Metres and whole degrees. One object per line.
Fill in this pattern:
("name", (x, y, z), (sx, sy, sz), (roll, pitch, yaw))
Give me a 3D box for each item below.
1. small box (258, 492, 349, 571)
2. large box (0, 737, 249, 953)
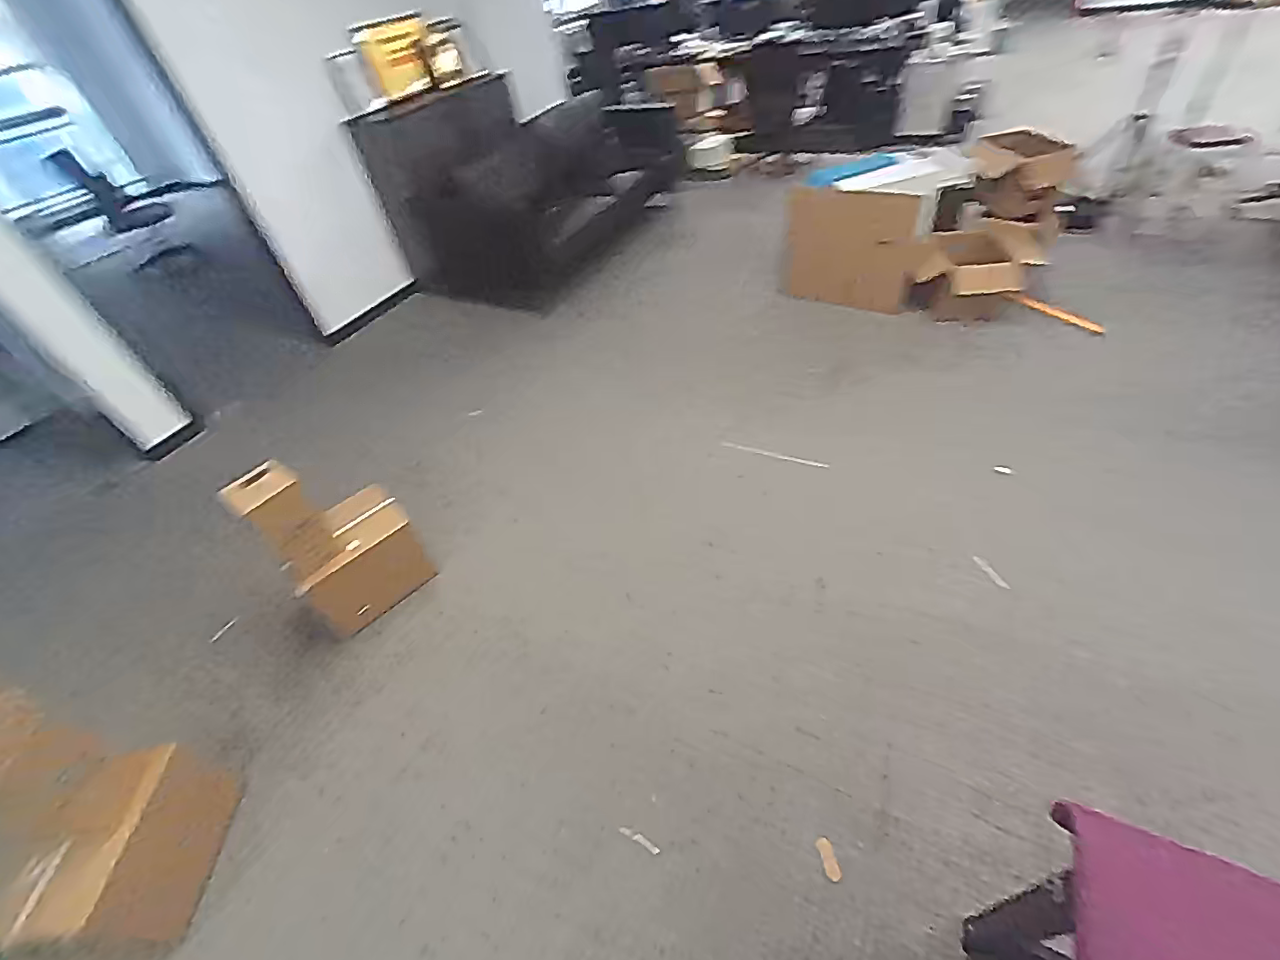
("small box", (-1.118, 0.178, 1.811), (0.179, 0.176, 0.168), (27, 54, 30))
("large box", (-1.339, 0.951, 1.418), (0.320, 0.320, 0.408), (-9, 45, 3))
